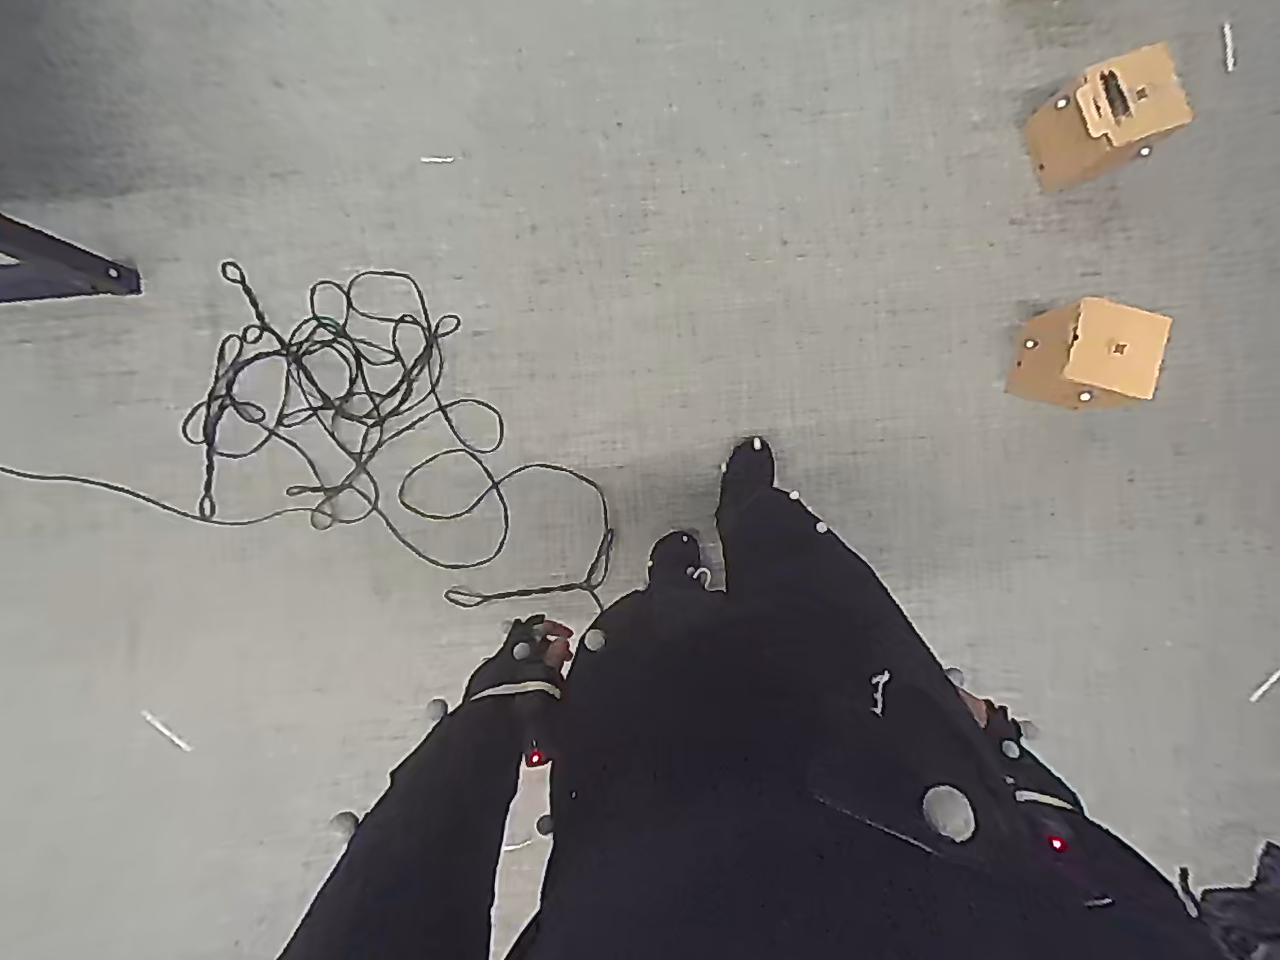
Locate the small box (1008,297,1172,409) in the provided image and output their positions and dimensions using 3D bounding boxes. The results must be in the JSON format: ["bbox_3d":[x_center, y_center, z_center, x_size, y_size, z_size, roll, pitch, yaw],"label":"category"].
[{"bbox_3d":[0.911,-0.250,1.111,0.179,0.176,0.168,15,90,1],"label":"small box"}]
